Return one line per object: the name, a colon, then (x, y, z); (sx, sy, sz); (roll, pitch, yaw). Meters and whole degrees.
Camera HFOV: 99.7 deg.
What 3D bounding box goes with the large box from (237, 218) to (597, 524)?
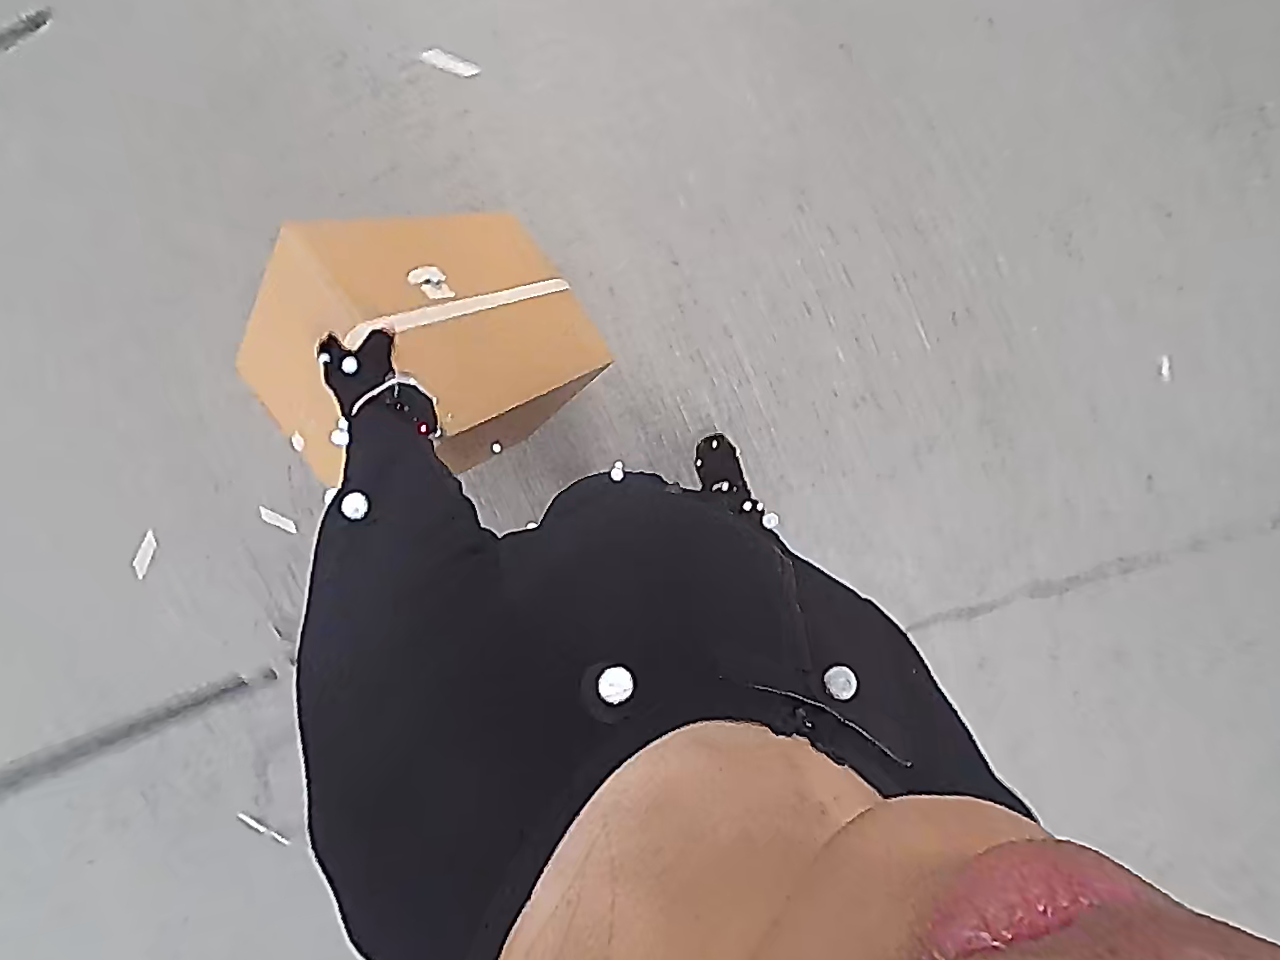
large box: (-0.352, -0.189, 0.905); (0.320, 0.408, 0.320); (-33, 95, 41)
